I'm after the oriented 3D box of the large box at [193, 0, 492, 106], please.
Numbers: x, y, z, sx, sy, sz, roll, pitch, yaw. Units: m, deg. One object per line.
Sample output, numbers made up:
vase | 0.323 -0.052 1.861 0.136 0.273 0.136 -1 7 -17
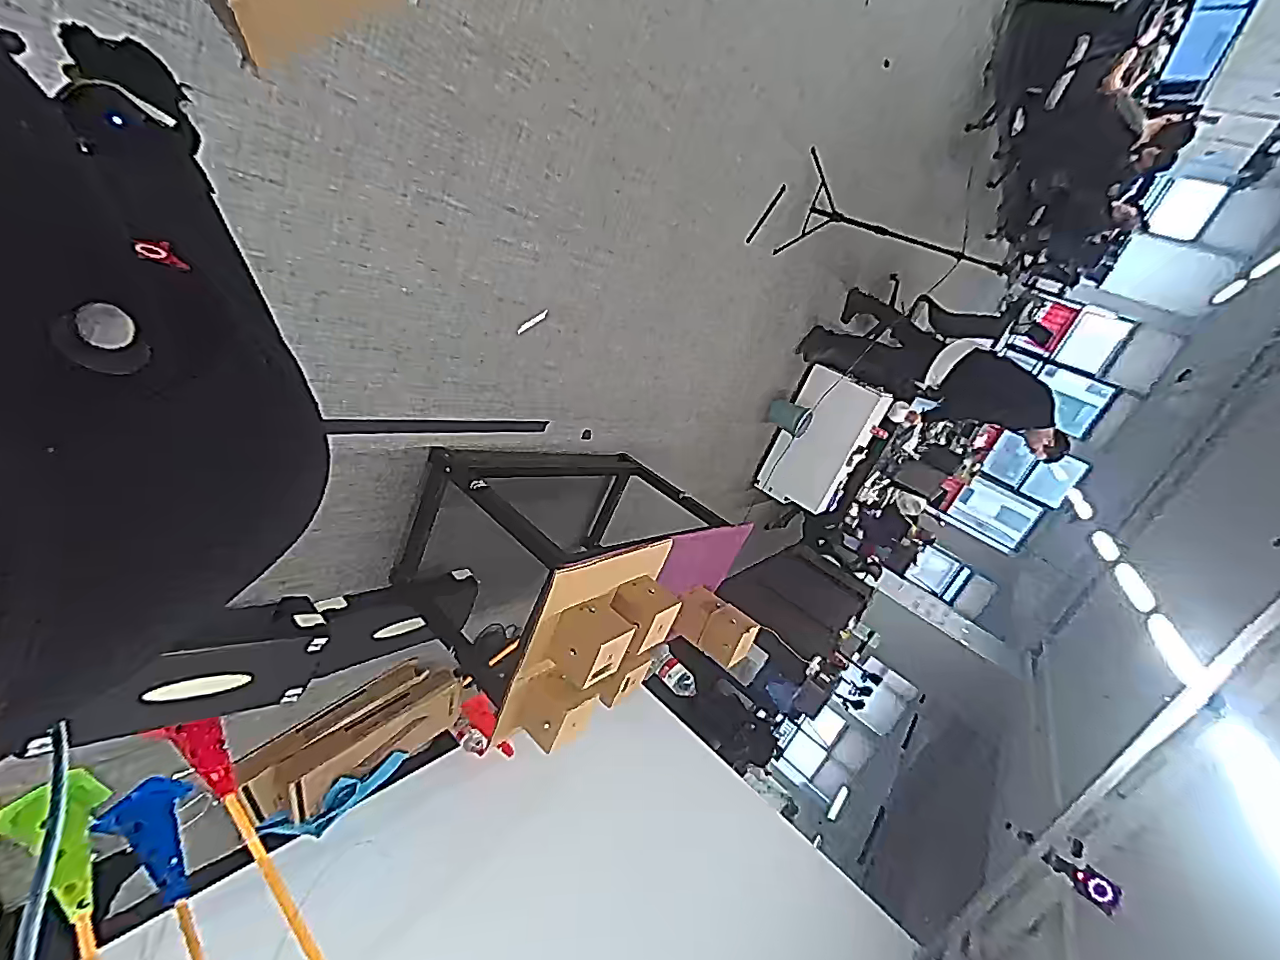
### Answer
large box | -0.299 -0.577 0.463 0.320 0.408 0.320 -32 128 -12
